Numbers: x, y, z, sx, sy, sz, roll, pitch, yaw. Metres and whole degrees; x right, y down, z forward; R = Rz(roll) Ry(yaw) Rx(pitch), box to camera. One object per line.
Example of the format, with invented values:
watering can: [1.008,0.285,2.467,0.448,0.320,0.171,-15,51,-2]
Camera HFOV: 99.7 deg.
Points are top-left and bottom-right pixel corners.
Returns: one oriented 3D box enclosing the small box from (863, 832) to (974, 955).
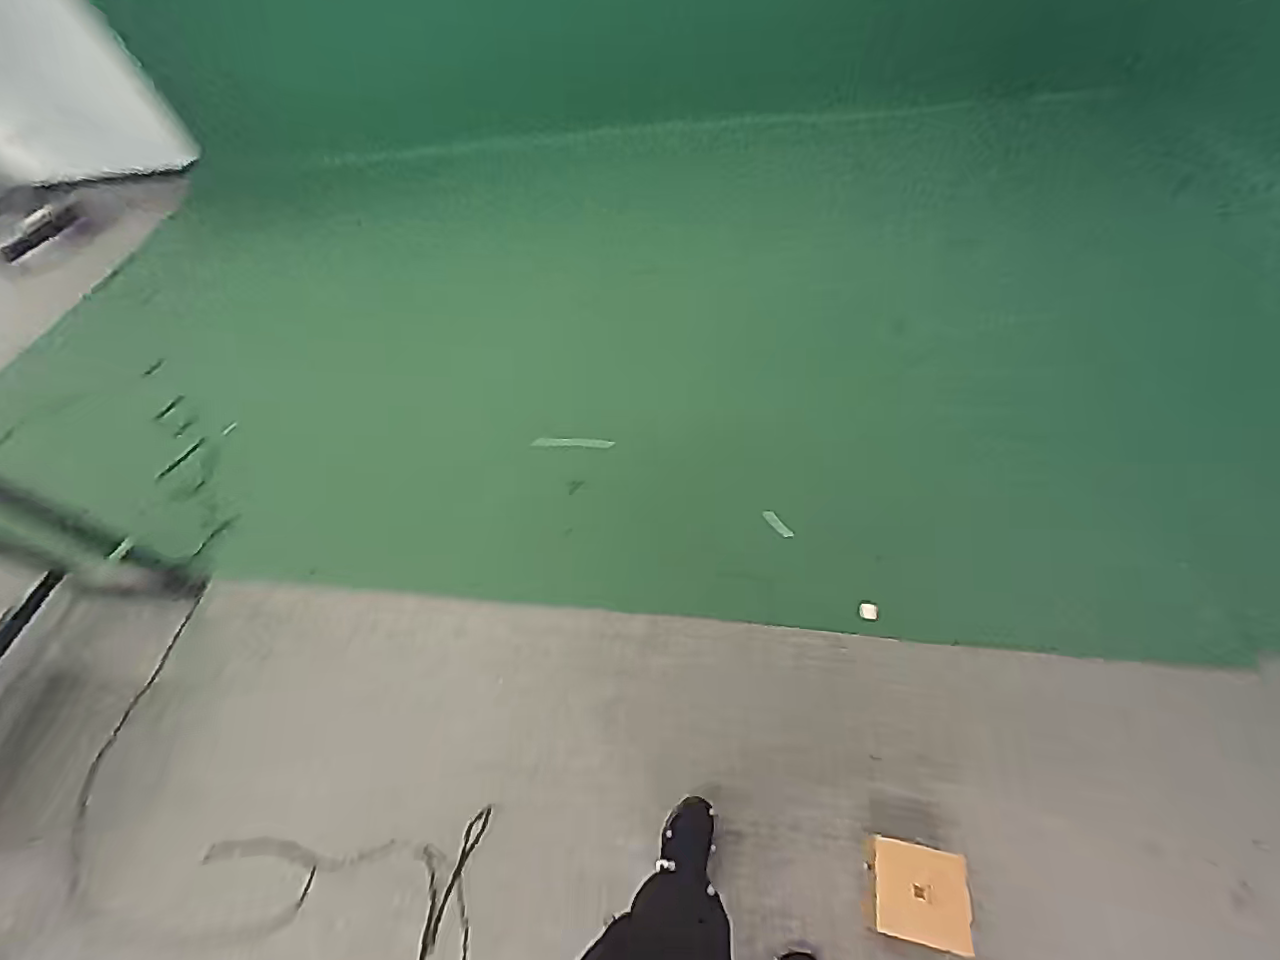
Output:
small box: [0.581,0.870,1.151,0.179,0.176,0.168,7,58,14]
